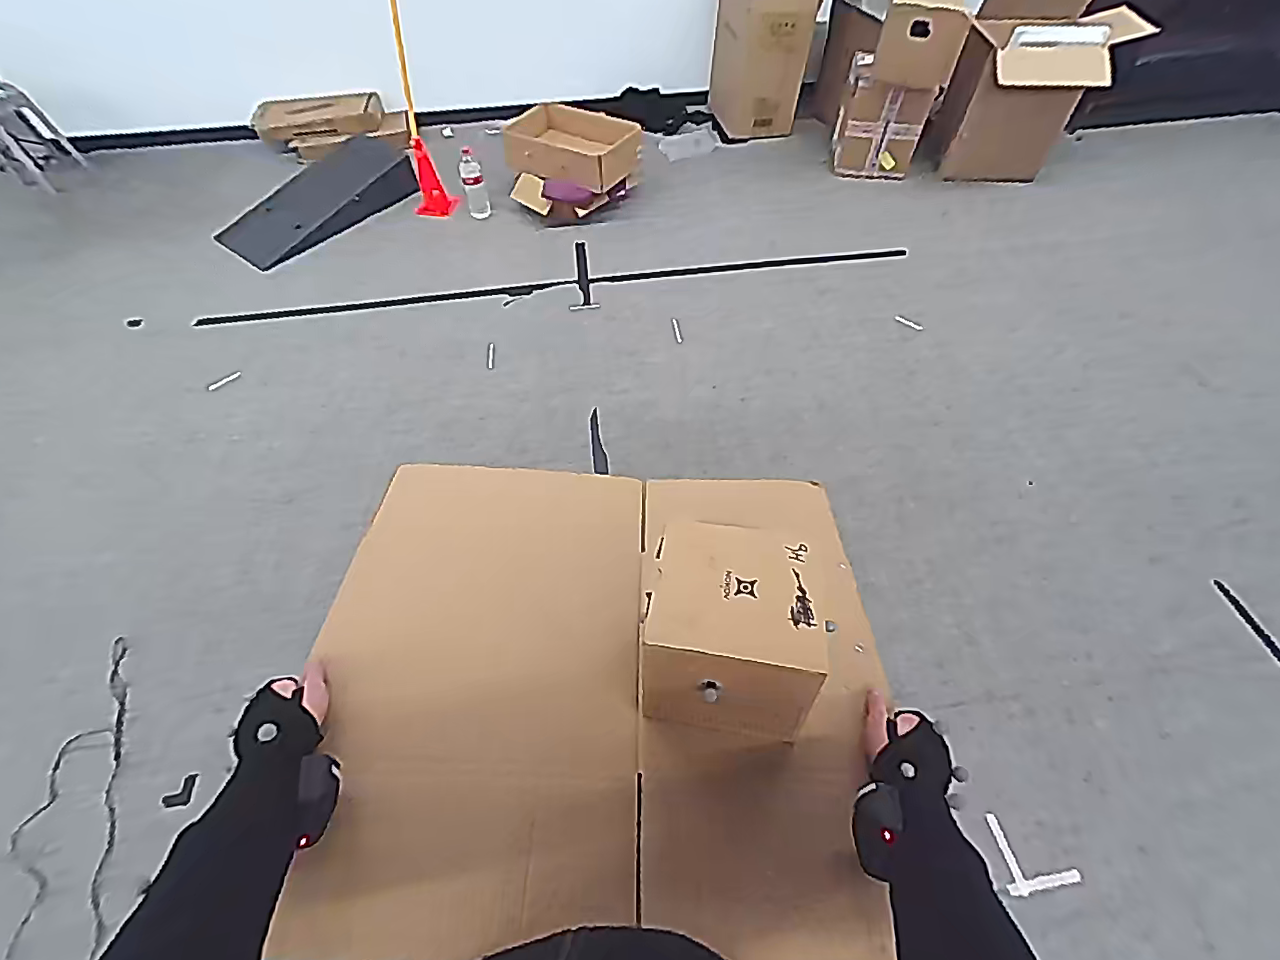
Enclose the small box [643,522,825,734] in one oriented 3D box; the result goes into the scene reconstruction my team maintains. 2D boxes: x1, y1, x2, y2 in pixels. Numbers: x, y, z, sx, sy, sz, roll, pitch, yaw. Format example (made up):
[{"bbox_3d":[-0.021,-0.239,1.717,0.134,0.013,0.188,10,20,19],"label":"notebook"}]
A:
[{"bbox_3d":[0.105,0.171,0.623,0.179,0.176,0.168,6,45,9],"label":"small box"}]
